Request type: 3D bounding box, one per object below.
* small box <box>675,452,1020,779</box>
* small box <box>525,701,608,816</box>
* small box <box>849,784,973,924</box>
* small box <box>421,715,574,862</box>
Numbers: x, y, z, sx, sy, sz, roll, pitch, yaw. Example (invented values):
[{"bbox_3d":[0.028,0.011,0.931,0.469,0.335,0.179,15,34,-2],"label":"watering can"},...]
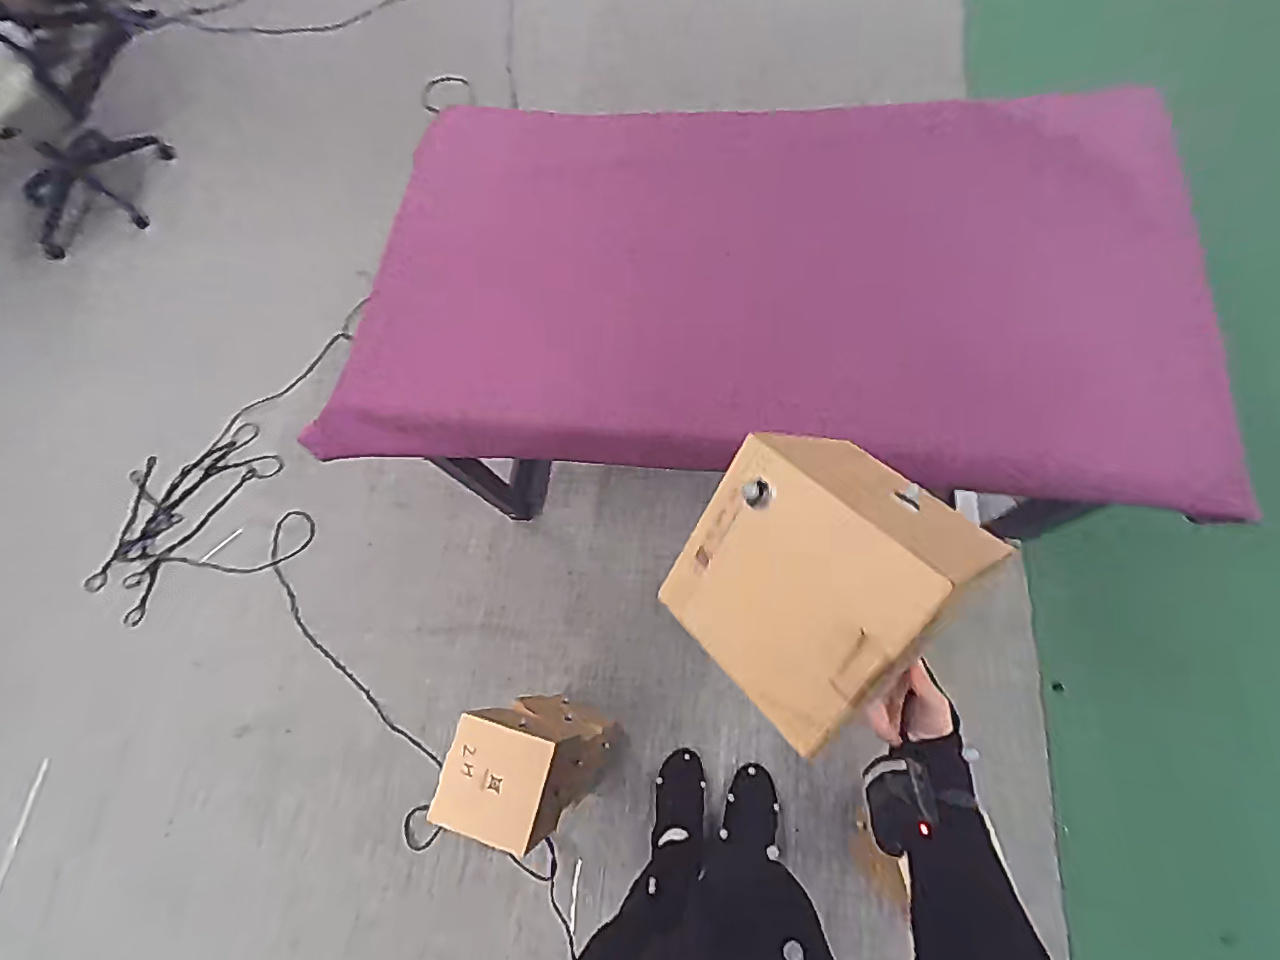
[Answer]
[{"bbox_3d":[0.159,0.088,0.439,0.176,0.179,0.168,43,118,32],"label":"small box"},{"bbox_3d":[-0.183,0.619,1.231,0.168,0.176,0.179,19,75,15],"label":"small box"},{"bbox_3d":[0.534,0.732,1.084,0.179,0.176,0.168,13,73,13],"label":"small box"},{"bbox_3d":[-0.229,0.511,0.926,0.179,0.176,0.168,11,71,14],"label":"small box"}]
